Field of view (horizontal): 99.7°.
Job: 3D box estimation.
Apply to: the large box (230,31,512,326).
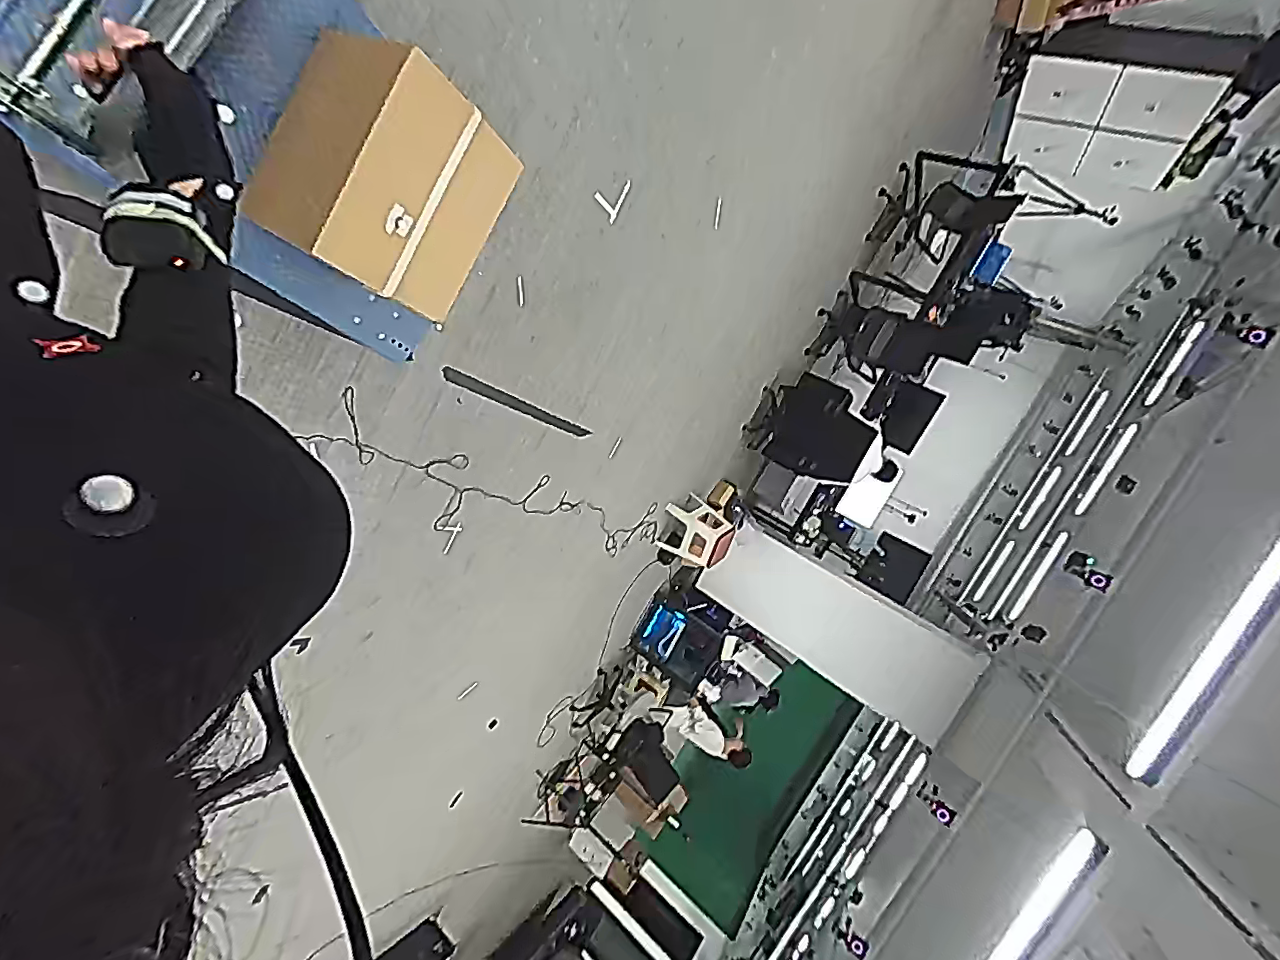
[{"bbox_3d":[-0.552,-0.612,1.135,0.408,0.320,0.320,-60,154,4],"label":"large box"}]
